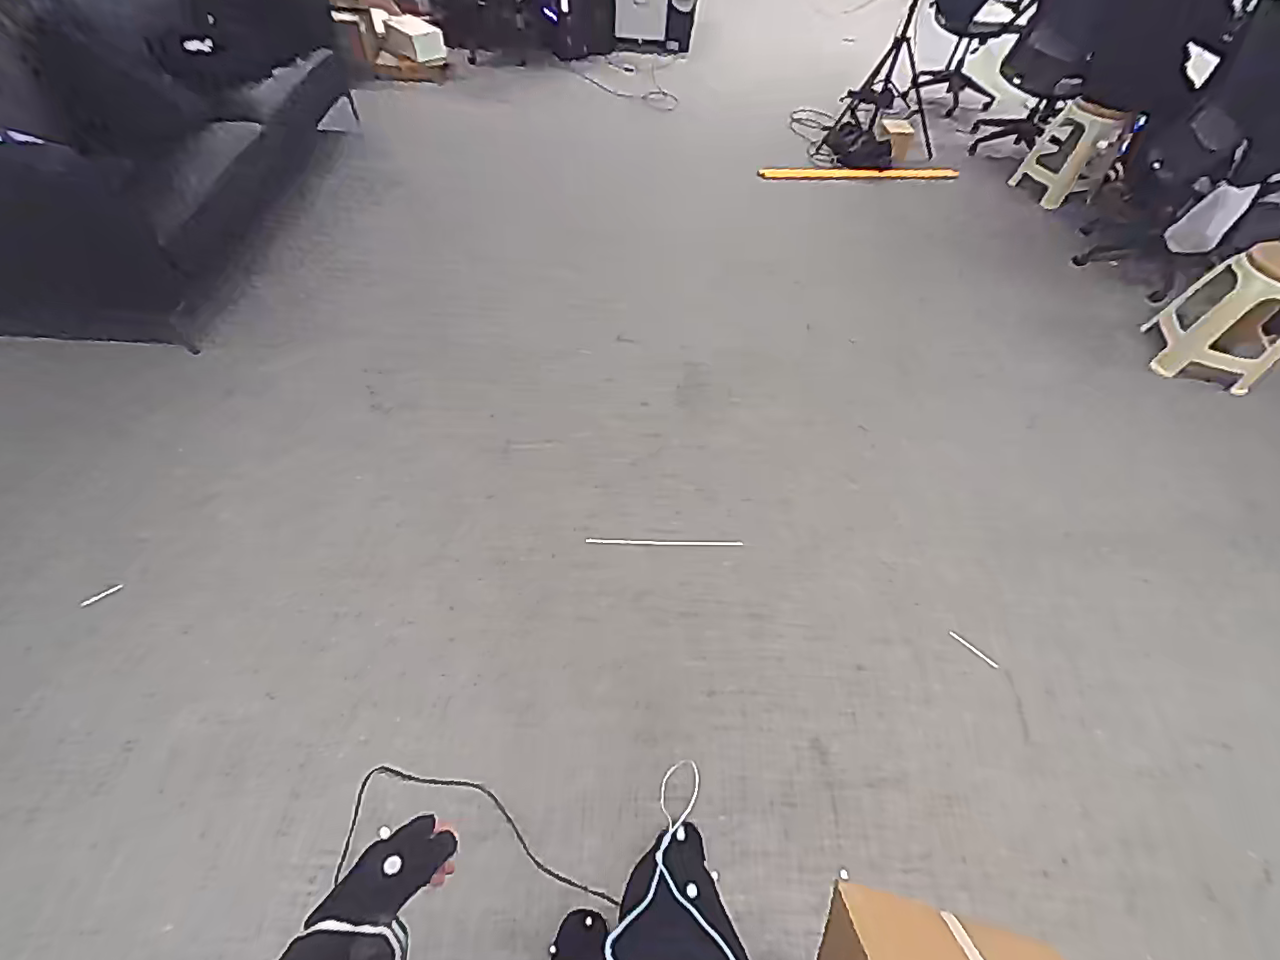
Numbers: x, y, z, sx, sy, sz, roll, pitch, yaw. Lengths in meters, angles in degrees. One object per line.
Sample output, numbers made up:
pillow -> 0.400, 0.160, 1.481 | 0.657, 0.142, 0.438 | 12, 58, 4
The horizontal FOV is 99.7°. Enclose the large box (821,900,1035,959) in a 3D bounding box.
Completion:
large box -> 0.382, 0.786, 0.578 | 0.320, 0.408, 0.320 | 16, 89, 4
